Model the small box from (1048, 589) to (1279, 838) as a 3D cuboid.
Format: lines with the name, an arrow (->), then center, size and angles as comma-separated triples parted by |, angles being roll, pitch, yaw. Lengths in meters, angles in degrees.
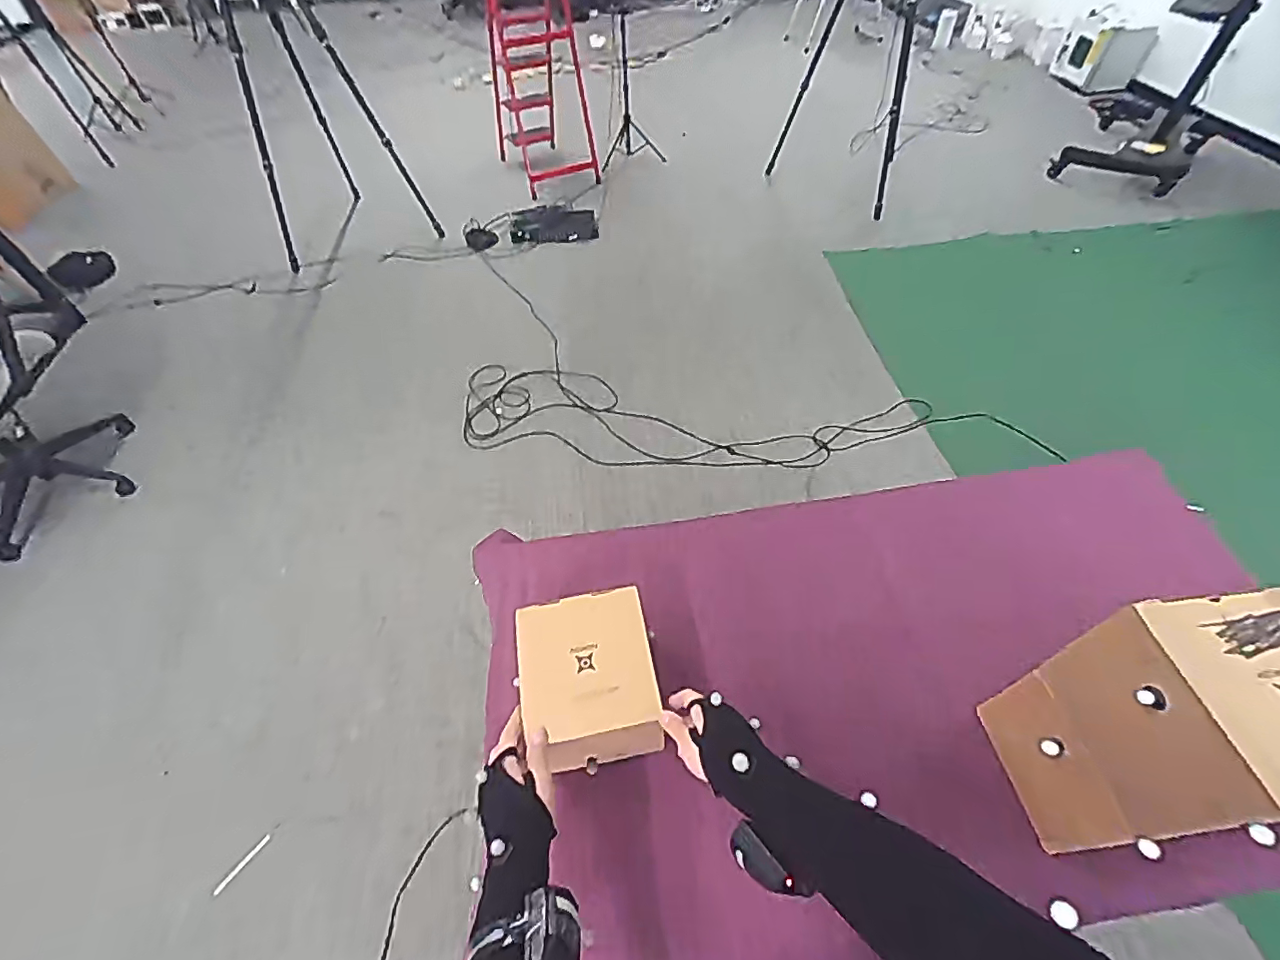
small box -> 0.557, 0.228, 0.526 | 0.168, 0.176, 0.179 | -6, 51, -1

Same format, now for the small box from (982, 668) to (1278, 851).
small box -> 0.563, 0.334, 0.652 | 0.168, 0.176, 0.179 | -6, 50, -2

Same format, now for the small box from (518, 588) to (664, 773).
small box -> -0.065, 0.272, 0.731 | 0.168, 0.176, 0.179 | -10, 53, -5
